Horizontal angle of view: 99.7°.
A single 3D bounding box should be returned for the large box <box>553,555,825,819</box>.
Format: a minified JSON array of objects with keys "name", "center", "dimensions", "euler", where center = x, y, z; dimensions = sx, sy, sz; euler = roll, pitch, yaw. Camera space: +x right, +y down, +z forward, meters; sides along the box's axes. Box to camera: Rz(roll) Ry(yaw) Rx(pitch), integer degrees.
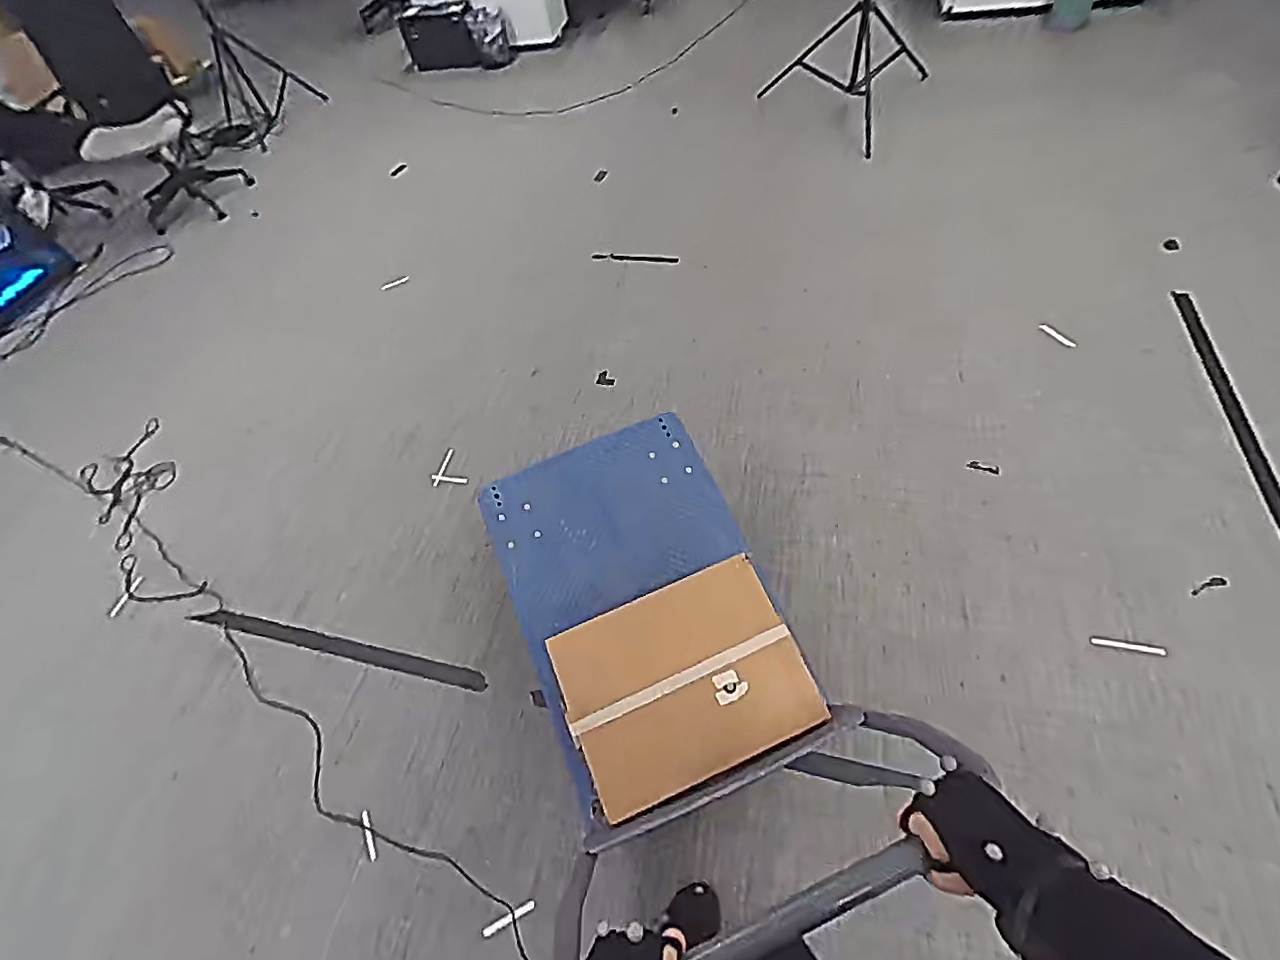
[{"name":"large box","center":[0.084,0.406,1.091],"dimensions":[0.408,0.320,0.320],"euler":[-23,69,-8]}]
